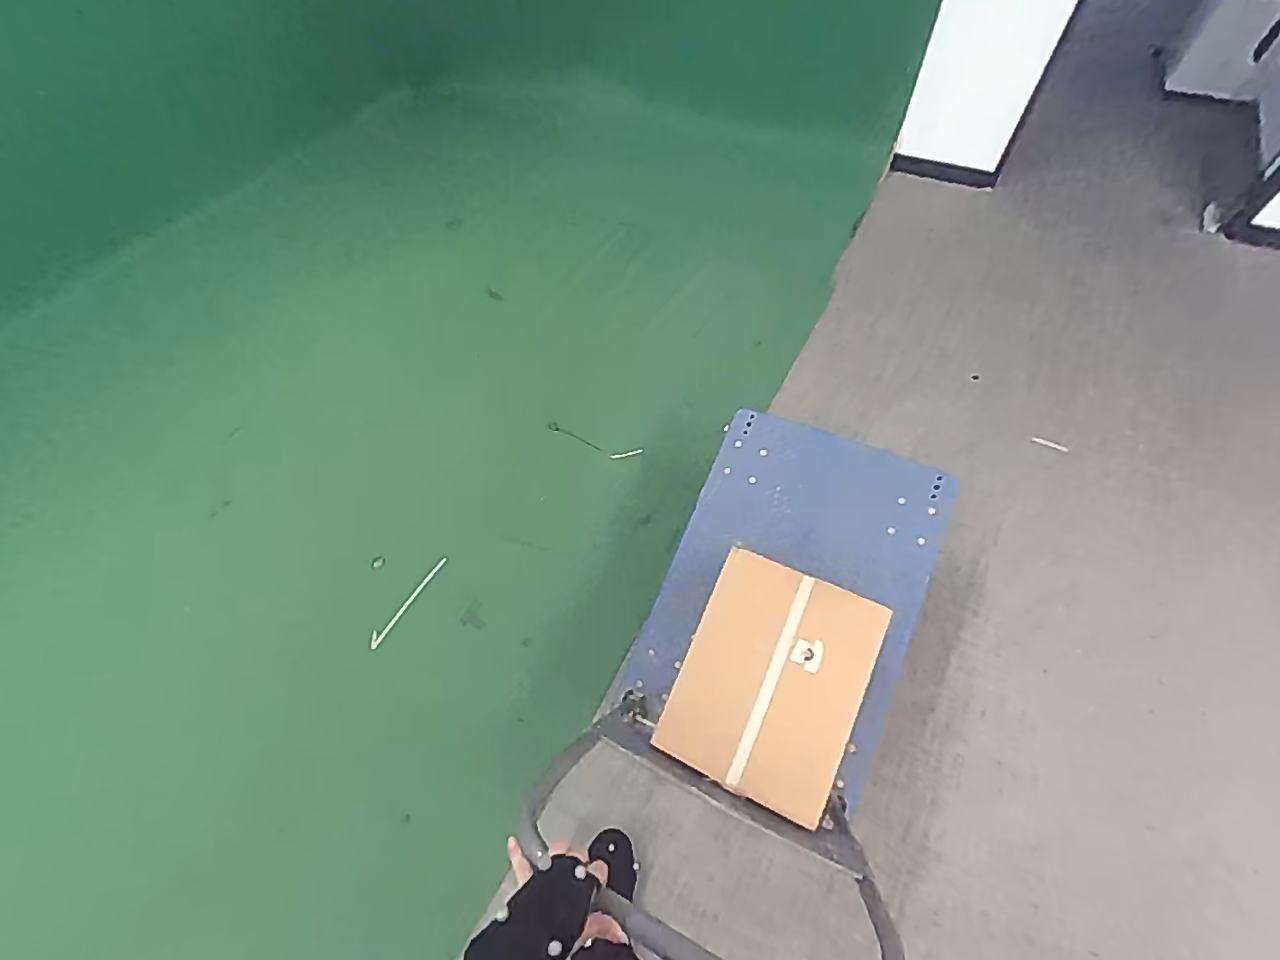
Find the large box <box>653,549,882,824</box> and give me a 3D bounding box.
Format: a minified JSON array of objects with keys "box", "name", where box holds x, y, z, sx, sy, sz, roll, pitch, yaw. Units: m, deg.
[{"box":[0.265,0.410,1.148,0.320,0.320,0.408,22,79,16],"name":"large box"}]
